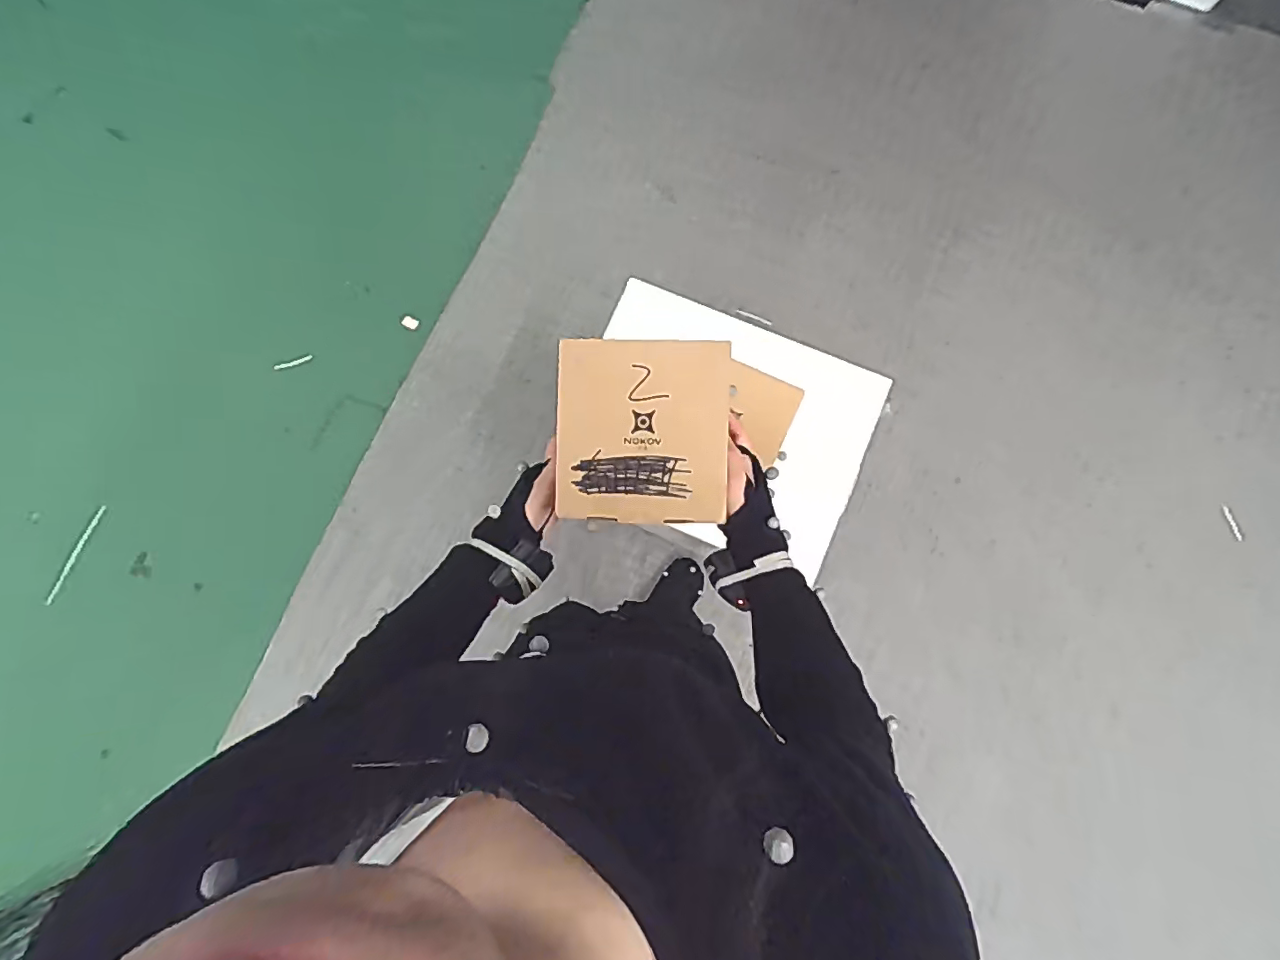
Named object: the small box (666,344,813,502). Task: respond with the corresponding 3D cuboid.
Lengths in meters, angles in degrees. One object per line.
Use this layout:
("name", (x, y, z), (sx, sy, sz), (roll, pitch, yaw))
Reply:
("small box", (0.146, -0.081, 0.860), (0.168, 0.176, 0.179), (25, 83, 6))
